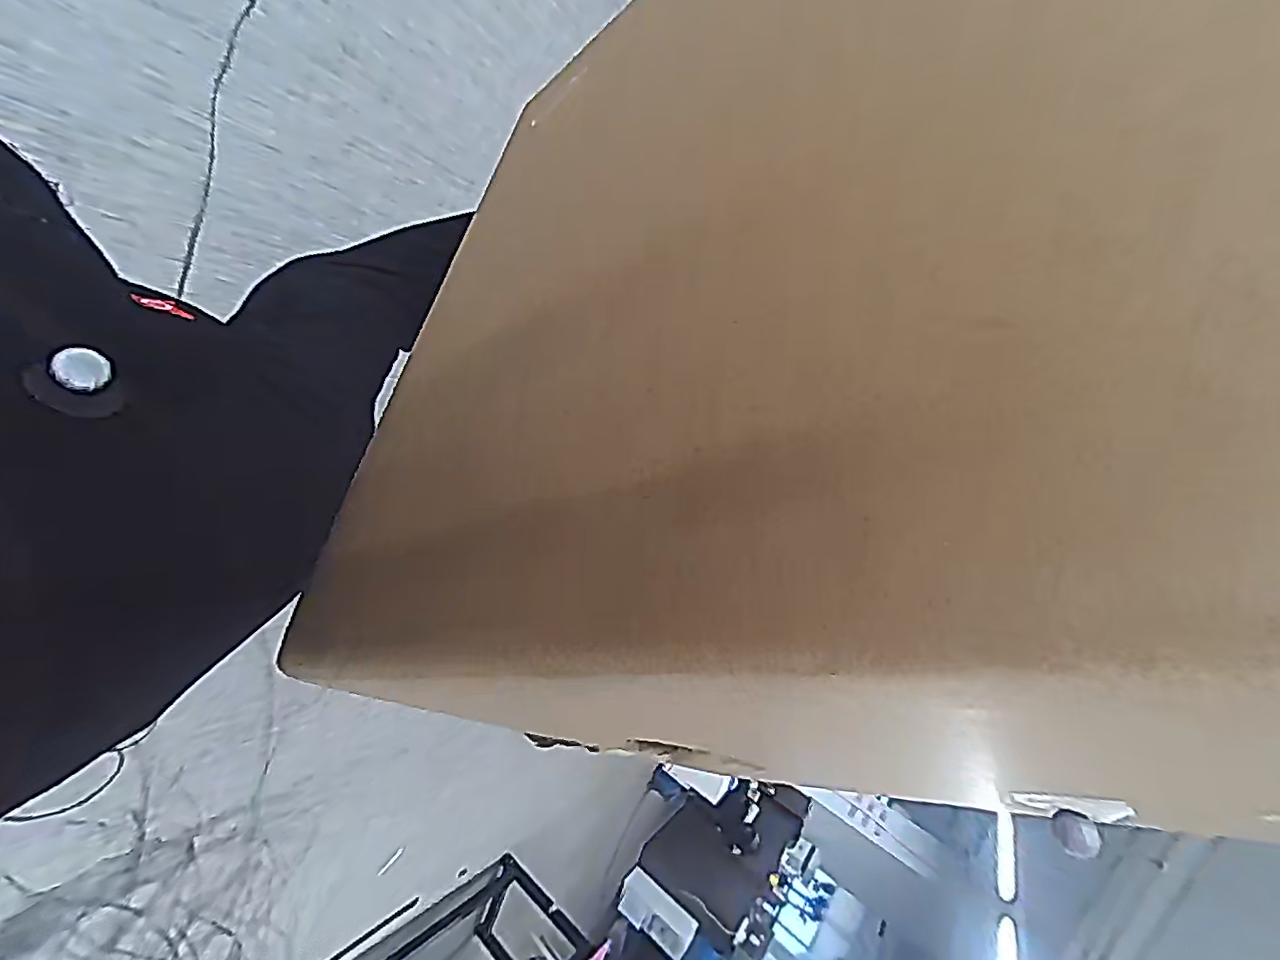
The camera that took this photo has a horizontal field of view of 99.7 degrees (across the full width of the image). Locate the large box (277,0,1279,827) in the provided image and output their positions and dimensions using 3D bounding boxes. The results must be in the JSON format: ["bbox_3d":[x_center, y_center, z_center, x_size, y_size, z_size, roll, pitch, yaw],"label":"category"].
[{"bbox_3d":[0.098,-0.070,0.306,0.320,0.320,0.408,38,49,-40],"label":"large box"}]
